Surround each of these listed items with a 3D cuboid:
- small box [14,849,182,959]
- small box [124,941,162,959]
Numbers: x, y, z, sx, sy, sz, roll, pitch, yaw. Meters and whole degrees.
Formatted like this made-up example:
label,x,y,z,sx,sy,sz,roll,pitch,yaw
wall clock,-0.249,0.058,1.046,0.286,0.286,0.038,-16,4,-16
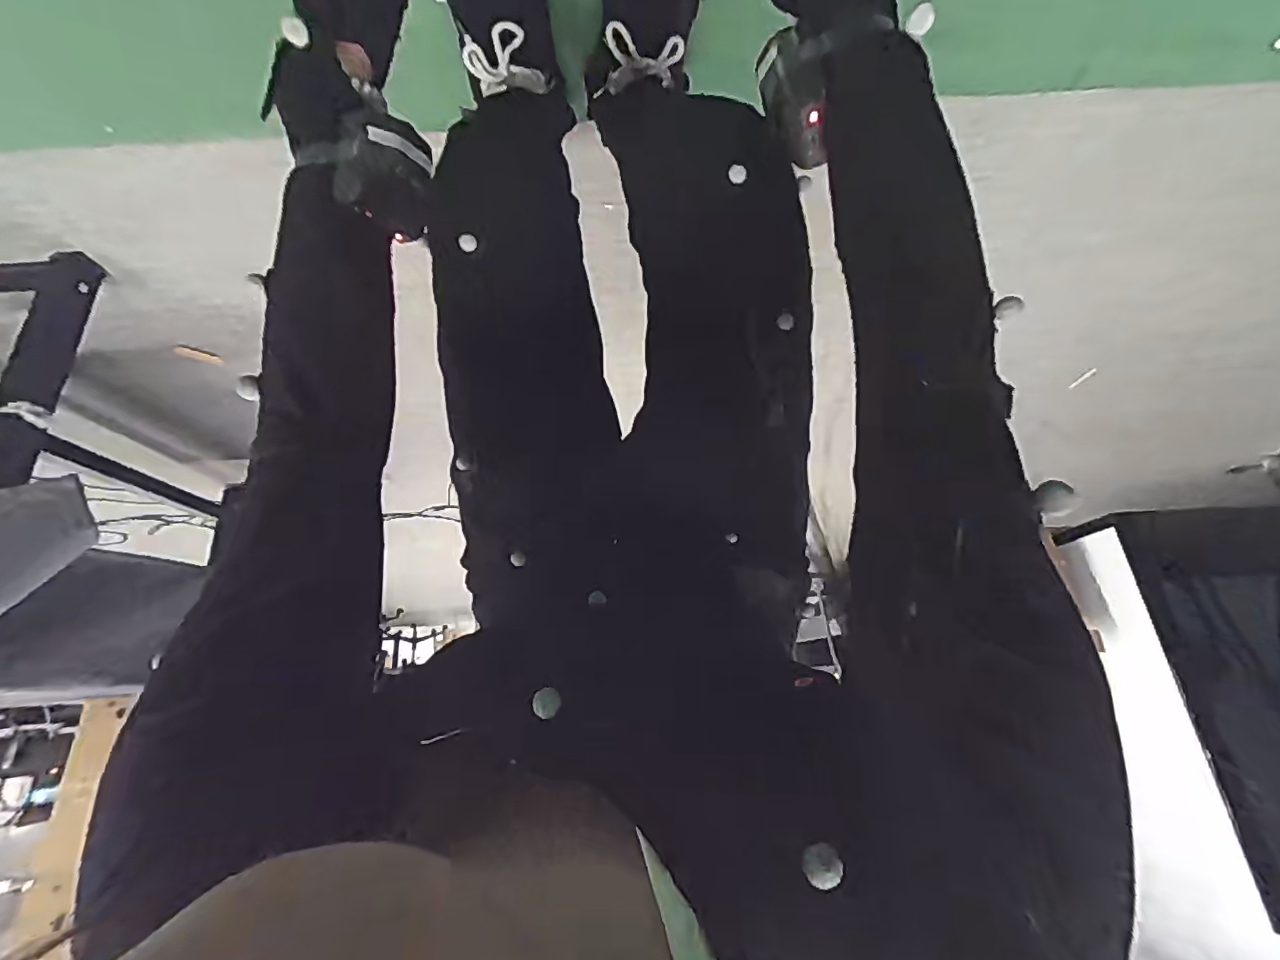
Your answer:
label,x,y,z,sx,sy,sz,roll,pitch,yaw
small box,-1.092,0.869,1.096,0.168,0.176,0.179,-3,158,-1
small box,-1.085,1.024,1.042,0.168,0.176,0.179,-4,159,0
